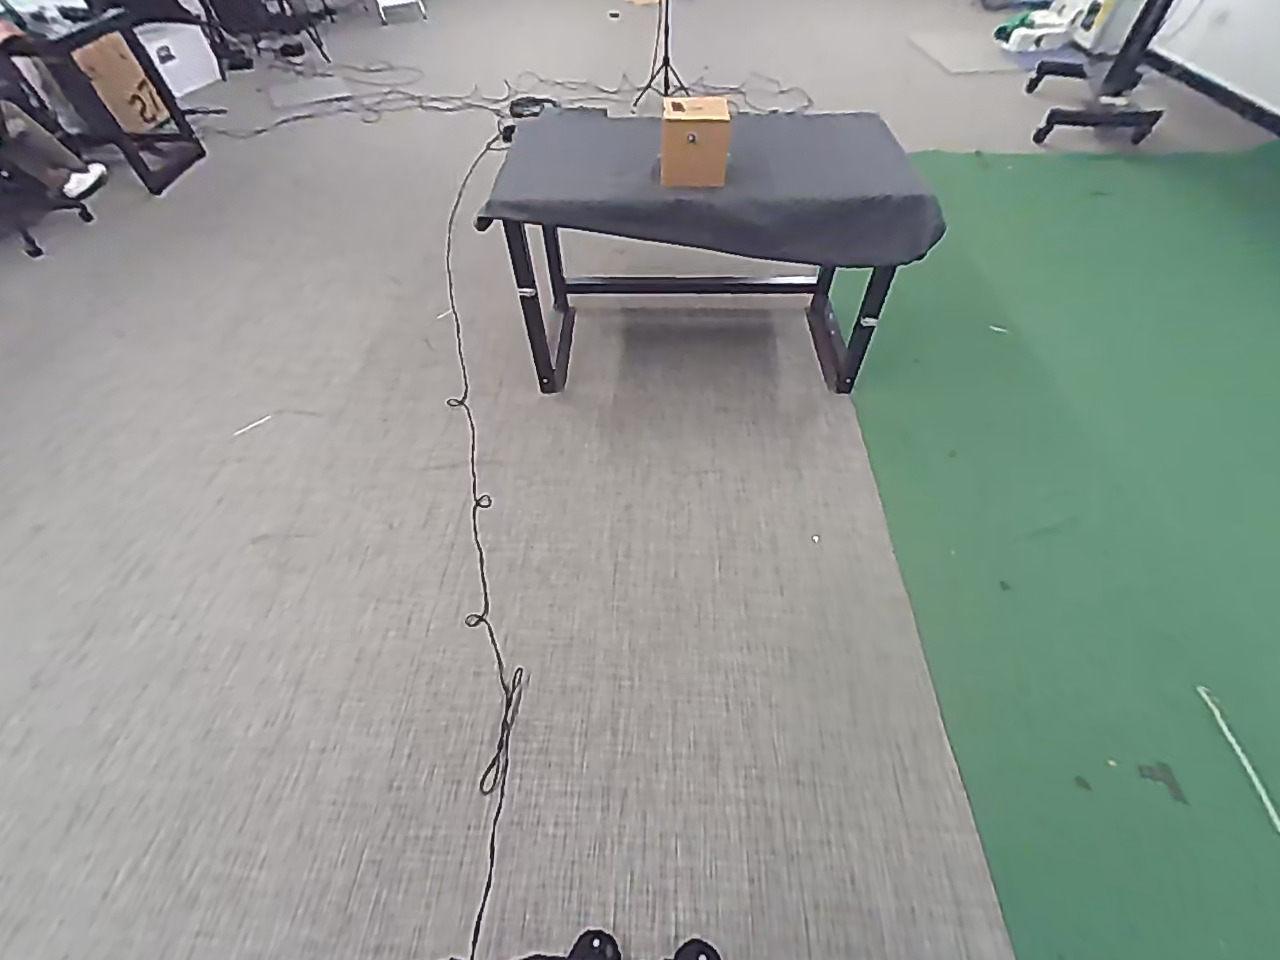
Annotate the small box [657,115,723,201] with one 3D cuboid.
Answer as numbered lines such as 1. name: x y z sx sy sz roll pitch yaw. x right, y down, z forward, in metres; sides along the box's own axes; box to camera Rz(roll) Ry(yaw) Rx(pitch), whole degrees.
1. small box: 0.138 -0.909 1.532 0.179 0.176 0.168 1 51 2
